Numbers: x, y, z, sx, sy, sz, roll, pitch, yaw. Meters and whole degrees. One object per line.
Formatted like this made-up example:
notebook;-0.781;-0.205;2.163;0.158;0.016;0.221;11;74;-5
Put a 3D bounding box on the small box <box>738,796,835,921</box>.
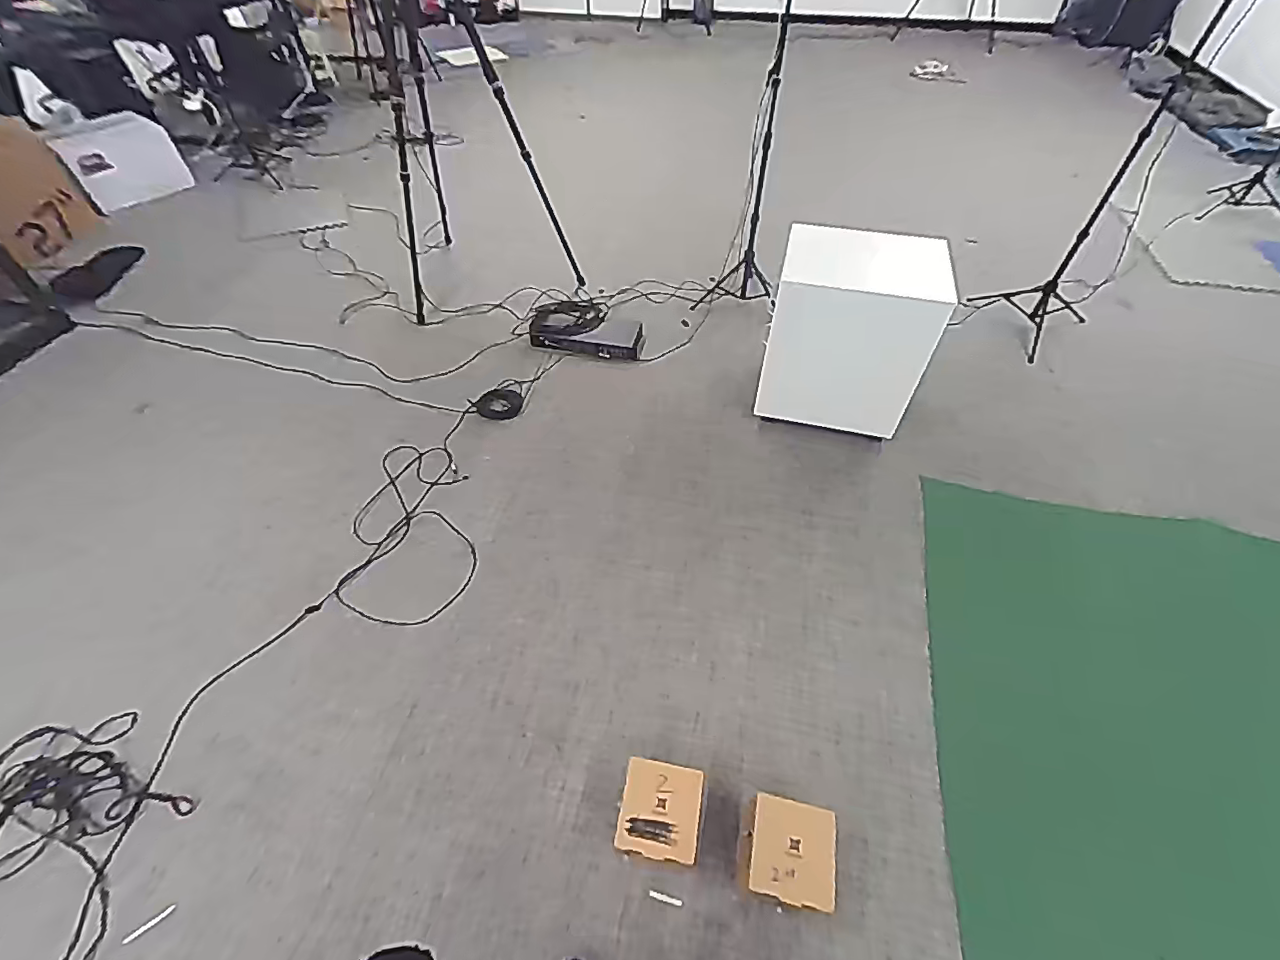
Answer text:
small box;0.308;0.809;1.153;0.168;0.176;0.179;11;51;10
